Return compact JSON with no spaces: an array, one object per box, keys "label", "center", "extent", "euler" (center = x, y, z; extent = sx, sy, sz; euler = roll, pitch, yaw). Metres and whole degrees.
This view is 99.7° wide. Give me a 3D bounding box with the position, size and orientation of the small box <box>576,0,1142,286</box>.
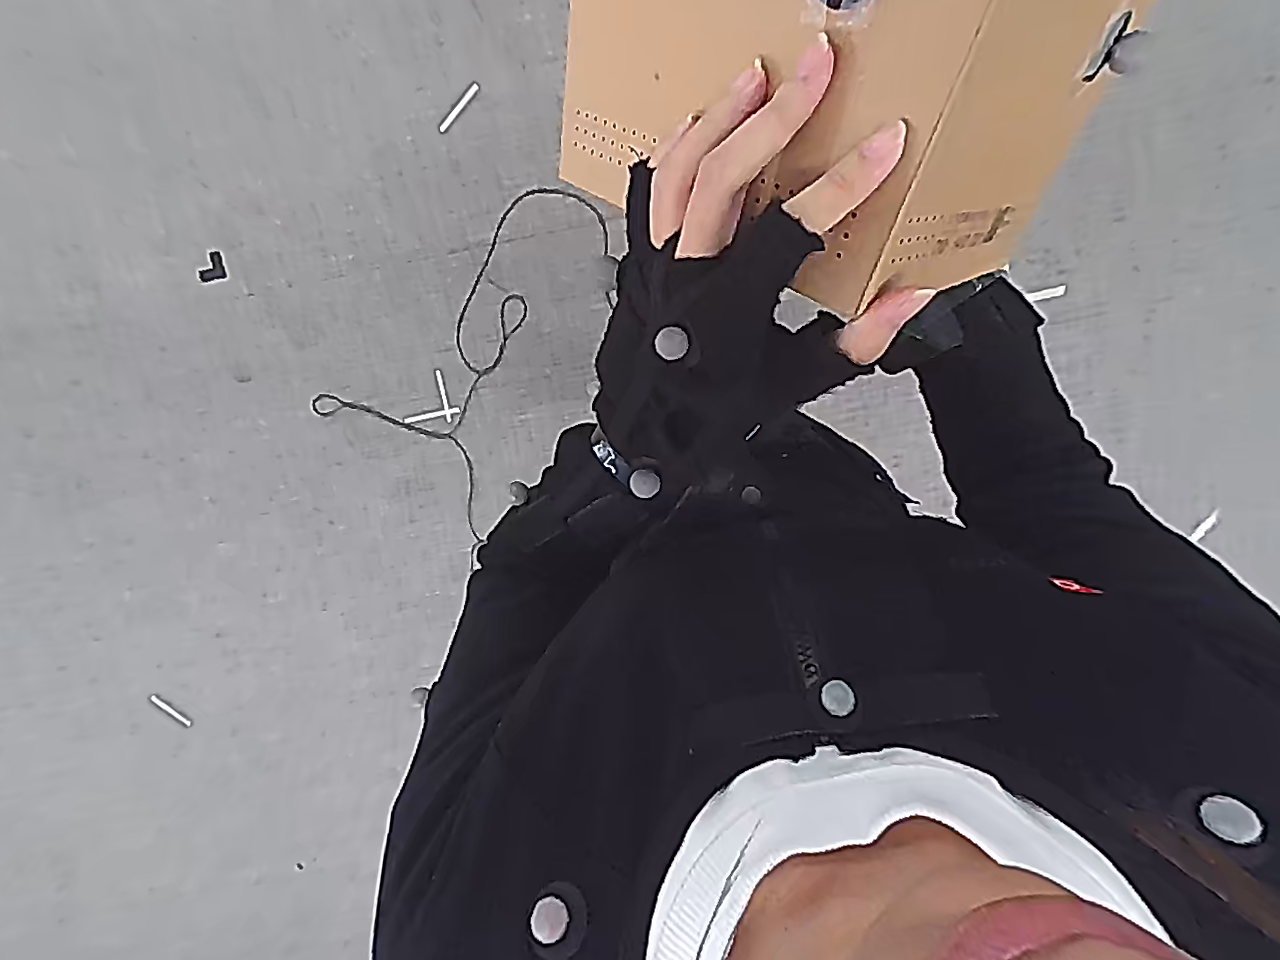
[{"label":"small box","center":[0.090,-0.193,0.234],"extent":[0.179,0.168,0.176],"euler":[40,136,30]}]
